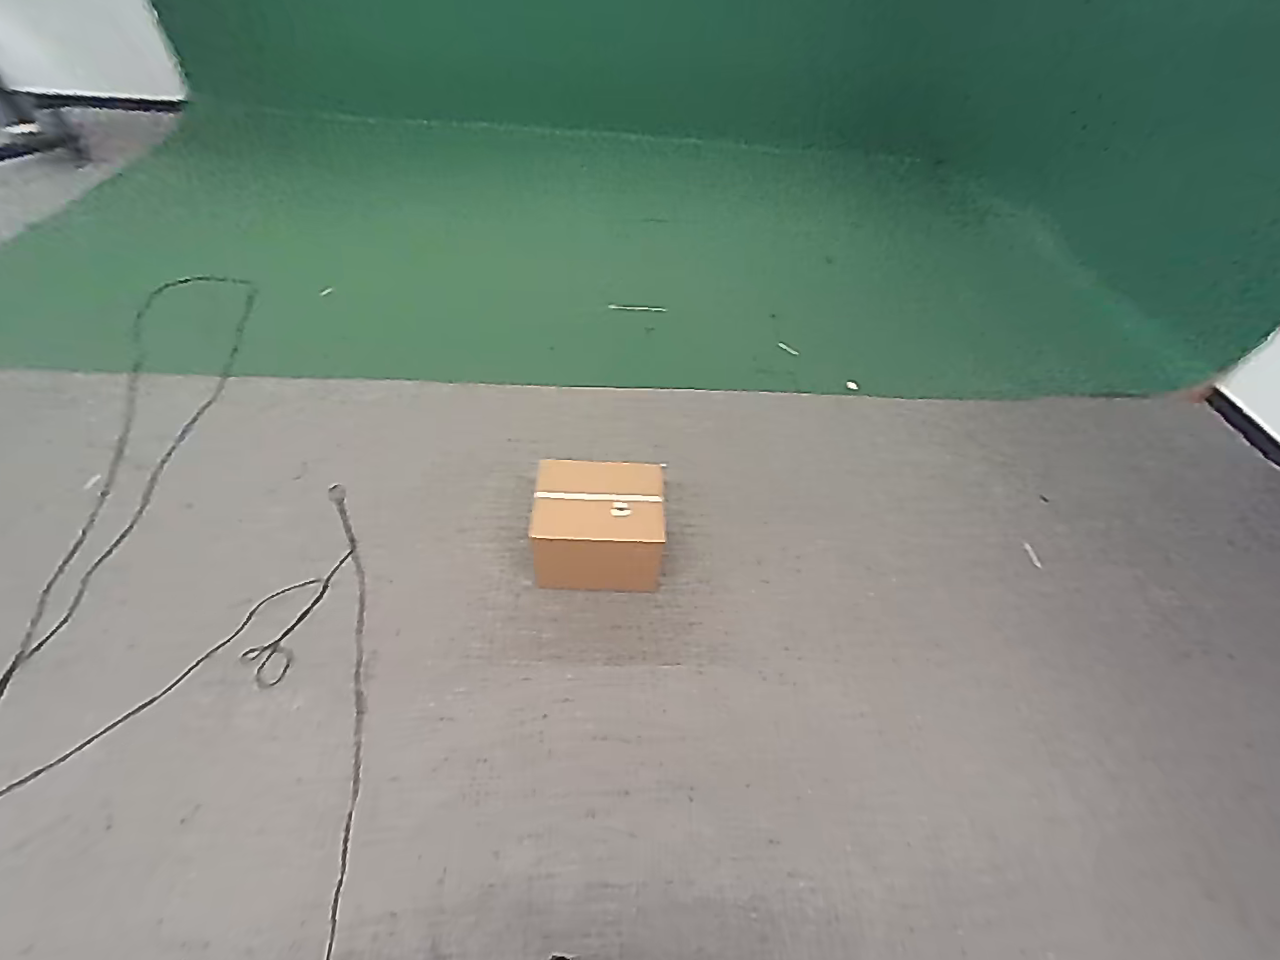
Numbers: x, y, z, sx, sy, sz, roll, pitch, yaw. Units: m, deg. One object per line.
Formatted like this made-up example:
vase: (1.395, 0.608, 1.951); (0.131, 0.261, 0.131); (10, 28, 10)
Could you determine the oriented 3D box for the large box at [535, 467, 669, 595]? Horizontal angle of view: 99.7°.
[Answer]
large box: (-0.127, 0.175, 1.805); (0.408, 0.320, 0.320); (3, 49, -3)
